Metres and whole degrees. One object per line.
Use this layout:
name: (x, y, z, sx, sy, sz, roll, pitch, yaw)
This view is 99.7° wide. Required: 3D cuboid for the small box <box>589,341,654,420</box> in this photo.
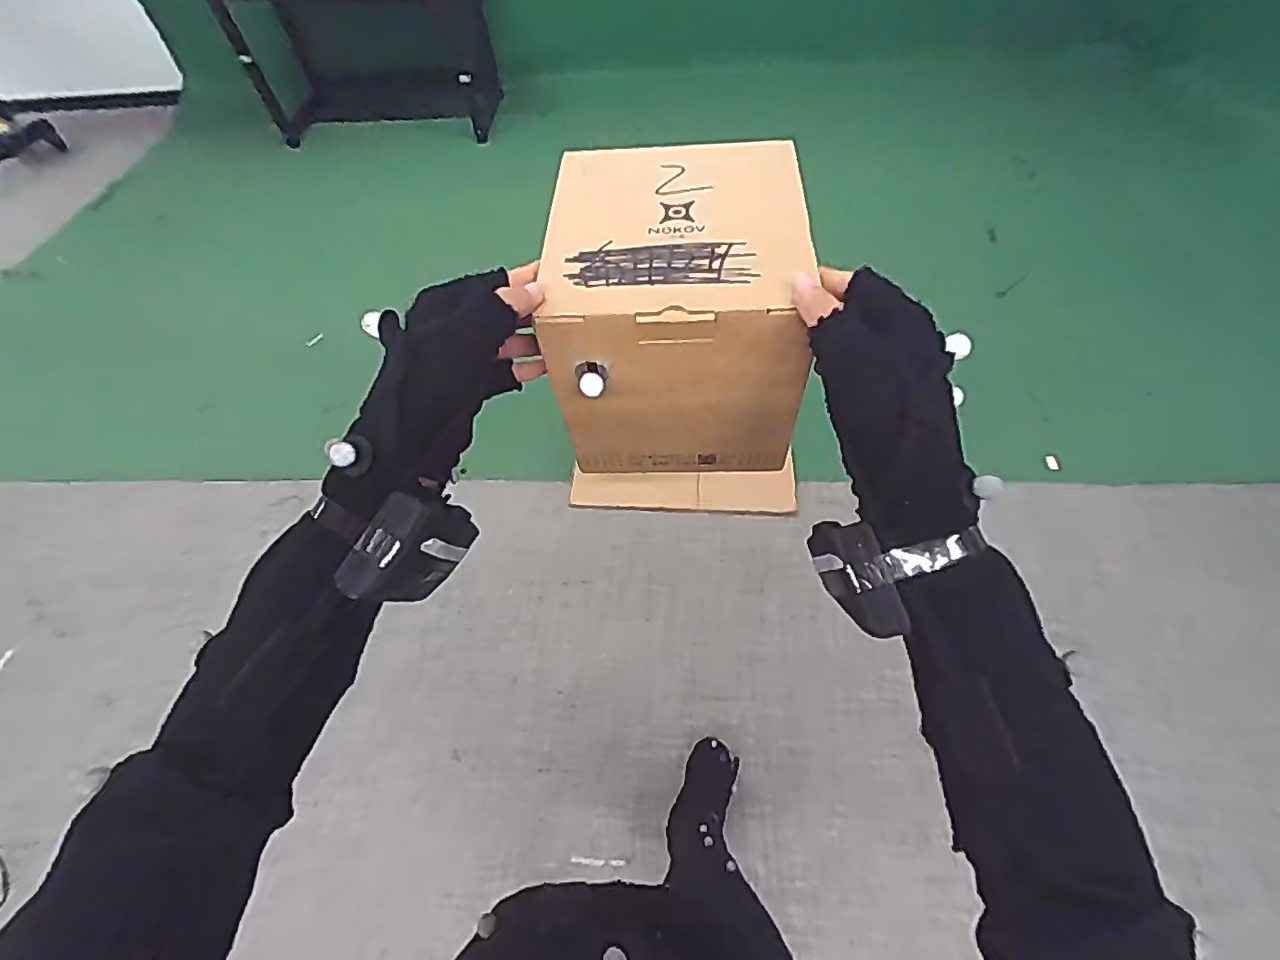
small box: (-0.047, -0.295, 1.617, 0.168, 0.176, 0.179, 2, 55, 6)
